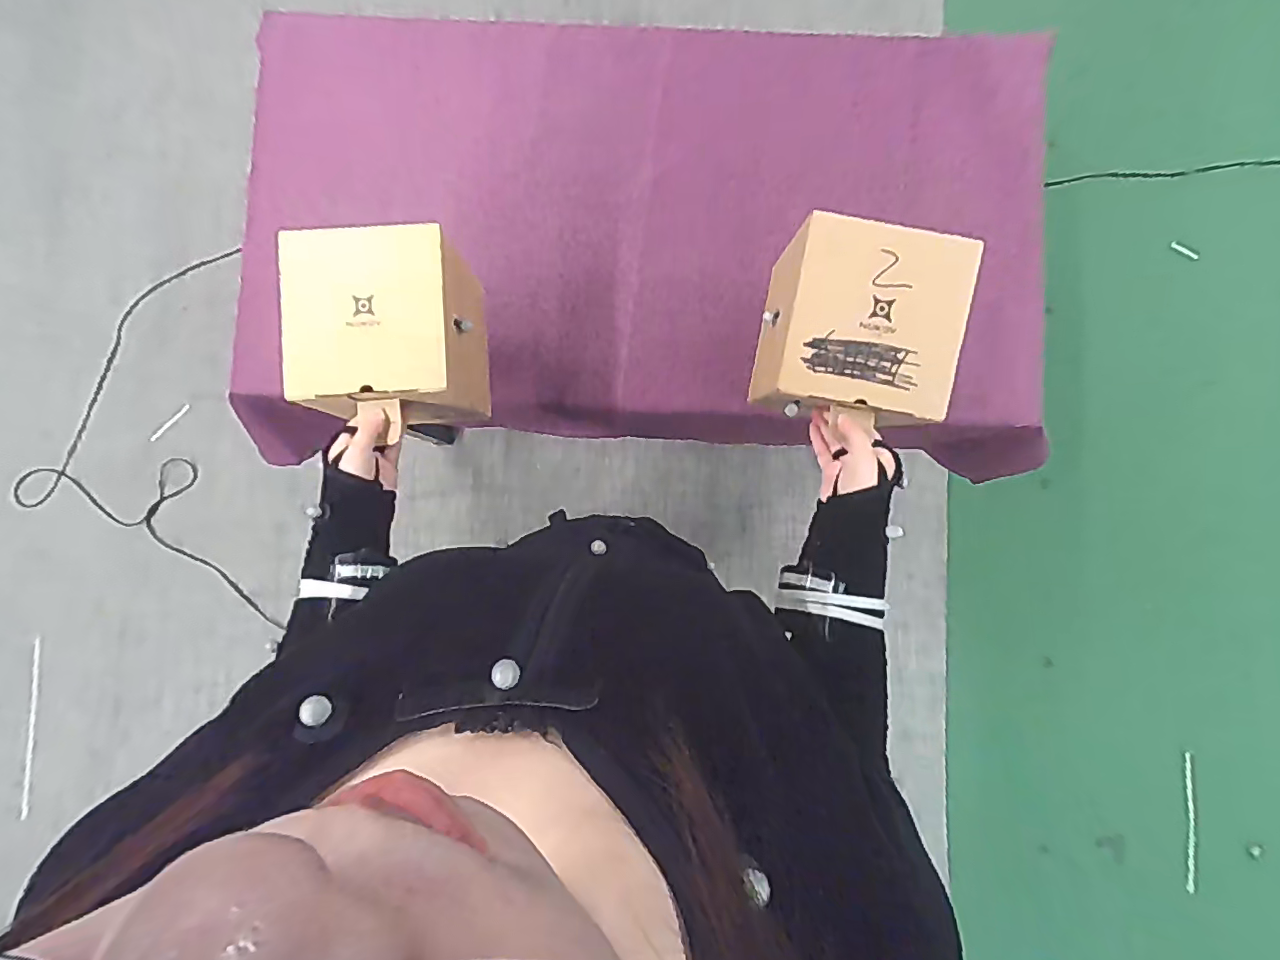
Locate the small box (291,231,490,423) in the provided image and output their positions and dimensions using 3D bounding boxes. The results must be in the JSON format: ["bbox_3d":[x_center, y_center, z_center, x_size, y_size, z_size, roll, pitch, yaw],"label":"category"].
[{"bbox_3d":[-0.283,-0.170,0.645,0.168,0.176,0.179,-4,88,-1],"label":"small box"}]
